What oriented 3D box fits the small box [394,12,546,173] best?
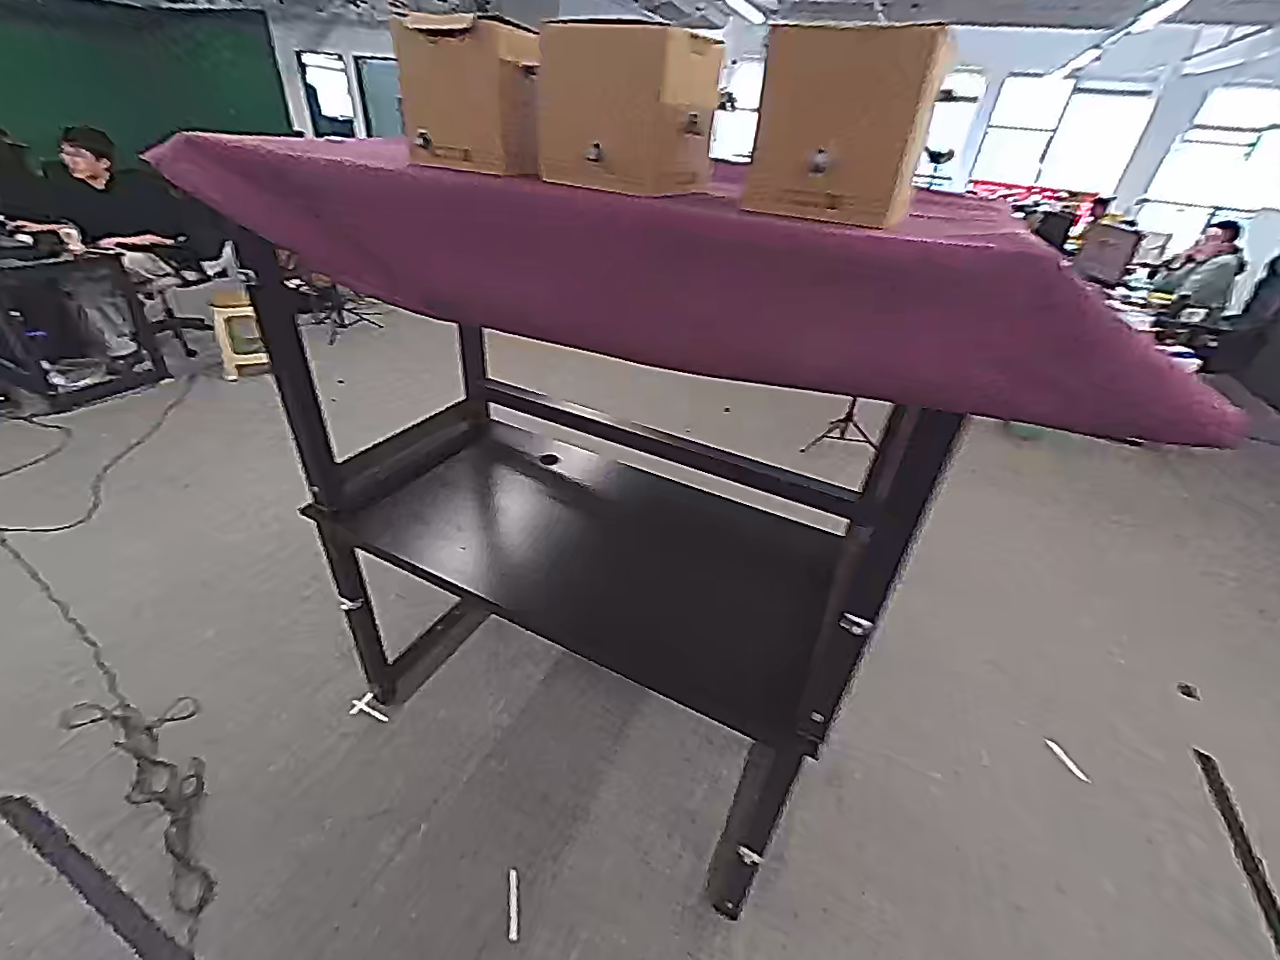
[{"bbox_3d":[-0.212,-0.542,0.772,0.168,0.176,0.179,17,34,17],"label":"small box"}]

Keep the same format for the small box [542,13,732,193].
[{"bbox_3d":[-0.006,-0.470,0.691,0.179,0.176,0.168,21,36,22],"label":"small box"}]

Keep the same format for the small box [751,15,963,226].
[{"bbox_3d":[0.236,-0.391,0.602,0.168,0.176,0.179,20,36,23],"label":"small box"}]
